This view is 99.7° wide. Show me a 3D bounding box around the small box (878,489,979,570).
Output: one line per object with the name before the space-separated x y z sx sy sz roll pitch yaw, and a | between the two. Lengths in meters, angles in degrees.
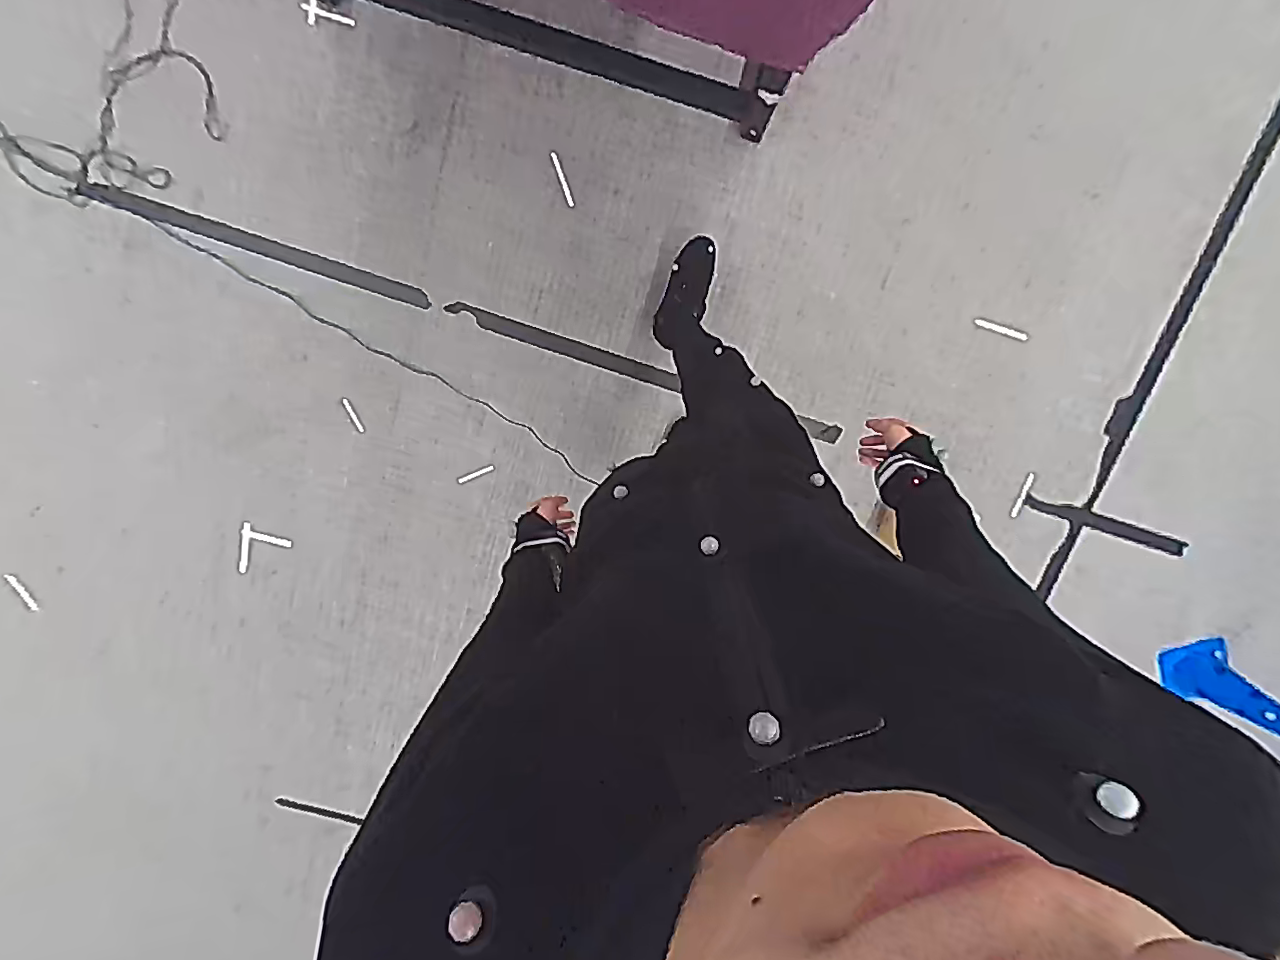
small box | 0.814 0.135 1.546 0.179 0.176 0.168 13 104 -2
